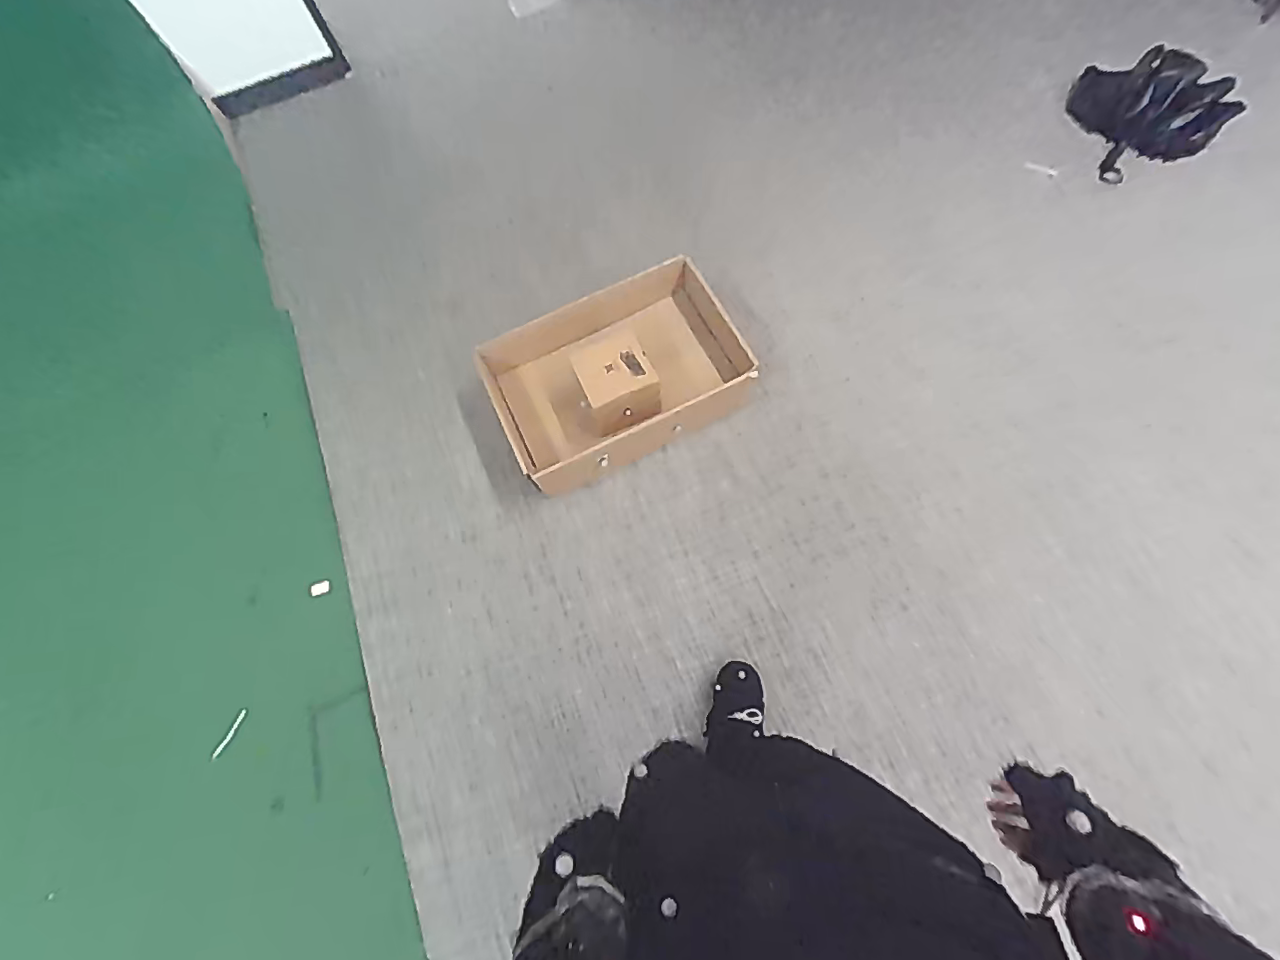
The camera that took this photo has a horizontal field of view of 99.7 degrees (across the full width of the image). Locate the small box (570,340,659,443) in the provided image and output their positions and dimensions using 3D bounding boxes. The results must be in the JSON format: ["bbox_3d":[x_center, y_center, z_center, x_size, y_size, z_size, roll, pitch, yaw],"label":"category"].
[{"bbox_3d":[-0.059,-0.221,1.388,0.179,0.176,0.168,-24,69,-3],"label":"small box"}]
